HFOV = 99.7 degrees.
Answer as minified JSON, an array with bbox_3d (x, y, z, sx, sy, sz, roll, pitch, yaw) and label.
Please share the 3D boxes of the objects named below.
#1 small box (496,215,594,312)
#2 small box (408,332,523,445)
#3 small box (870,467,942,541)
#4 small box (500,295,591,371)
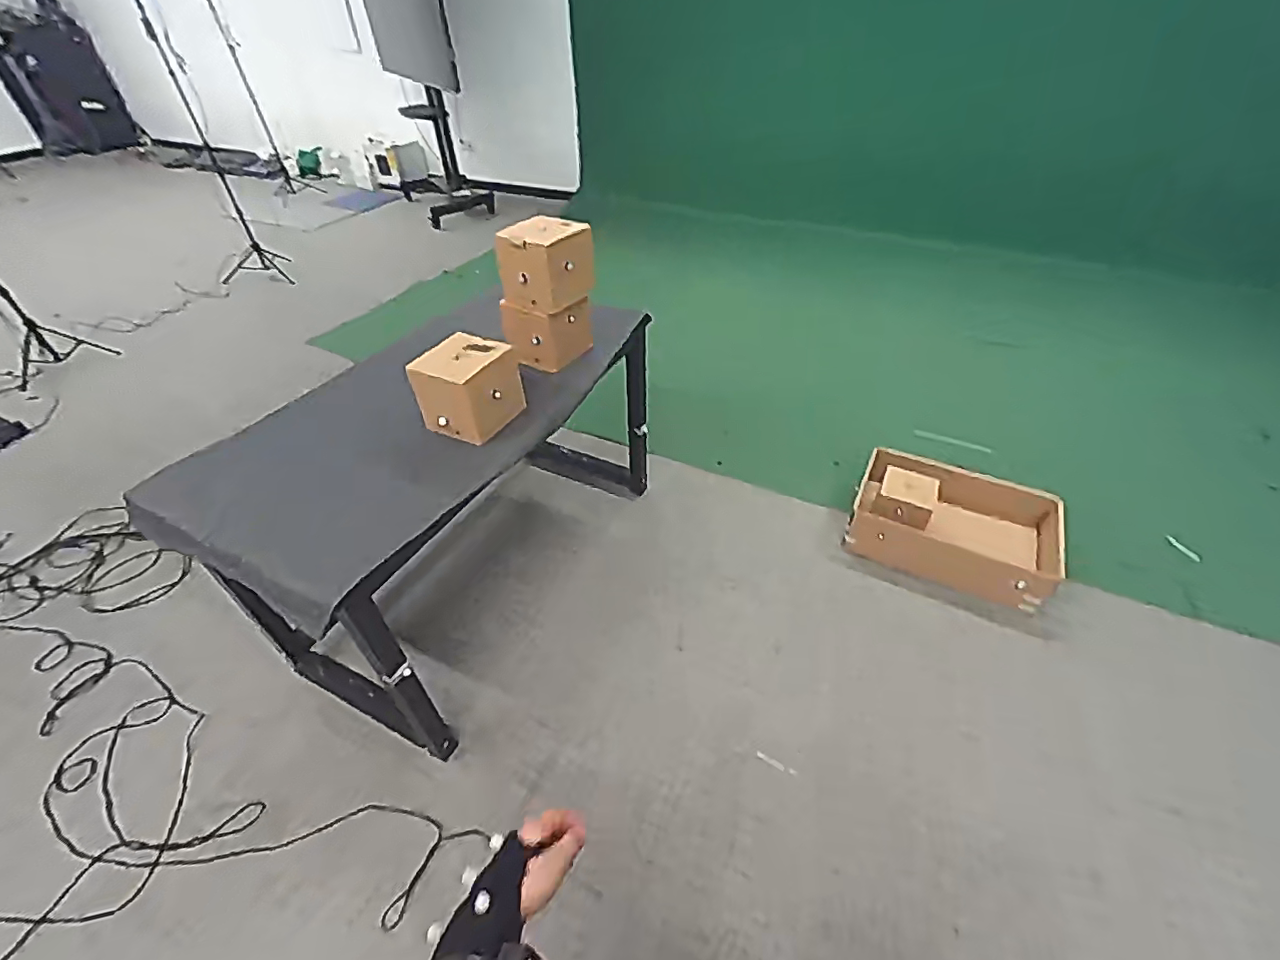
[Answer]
[{"bbox_3d":[-0.227,-0.541,1.353,0.168,0.176,0.179,23,48,25],"label":"small box"},{"bbox_3d":[-0.384,-0.209,1.230,0.168,0.176,0.179,18,47,22],"label":"small box"},{"bbox_3d":[0.925,0.086,1.893,0.179,0.176,0.168,20,47,20],"label":"small box"},{"bbox_3d":[-0.245,-0.416,1.461,0.168,0.176,0.179,21,46,23],"label":"small box"}]
